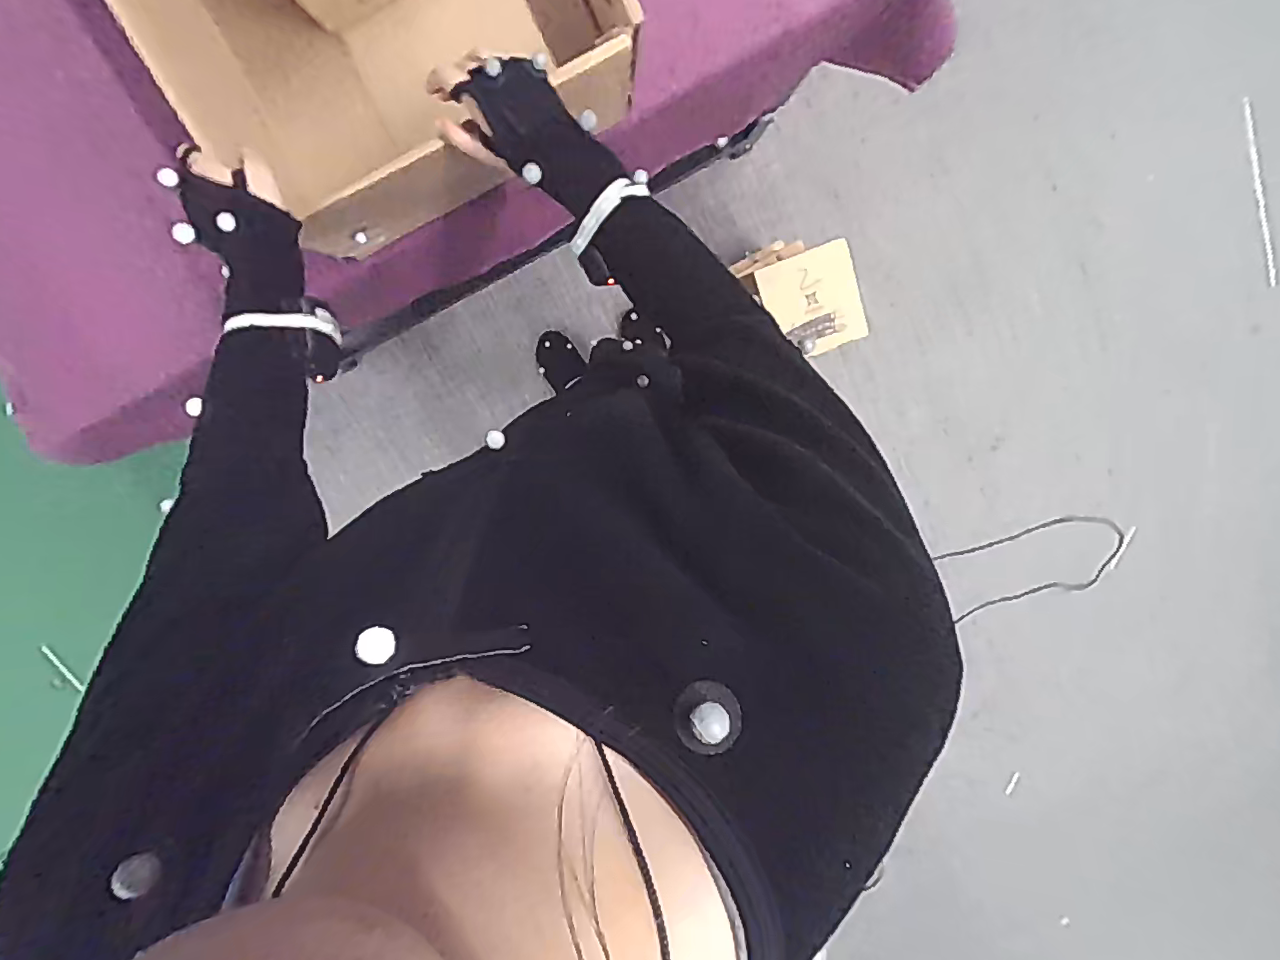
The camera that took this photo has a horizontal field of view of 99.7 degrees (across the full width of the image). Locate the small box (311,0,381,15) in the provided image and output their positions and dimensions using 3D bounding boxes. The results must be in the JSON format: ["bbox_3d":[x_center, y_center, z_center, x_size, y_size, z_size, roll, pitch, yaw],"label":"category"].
[{"bbox_3d":[-0.278,-0.554,0.462,0.168,0.176,0.179,-24,104,5],"label":"small box"}]

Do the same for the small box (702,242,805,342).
[{"bbox_3d":[0.270,-0.456,1.325,0.179,0.176,0.168,-27,105,6],"label":"small box"}]
